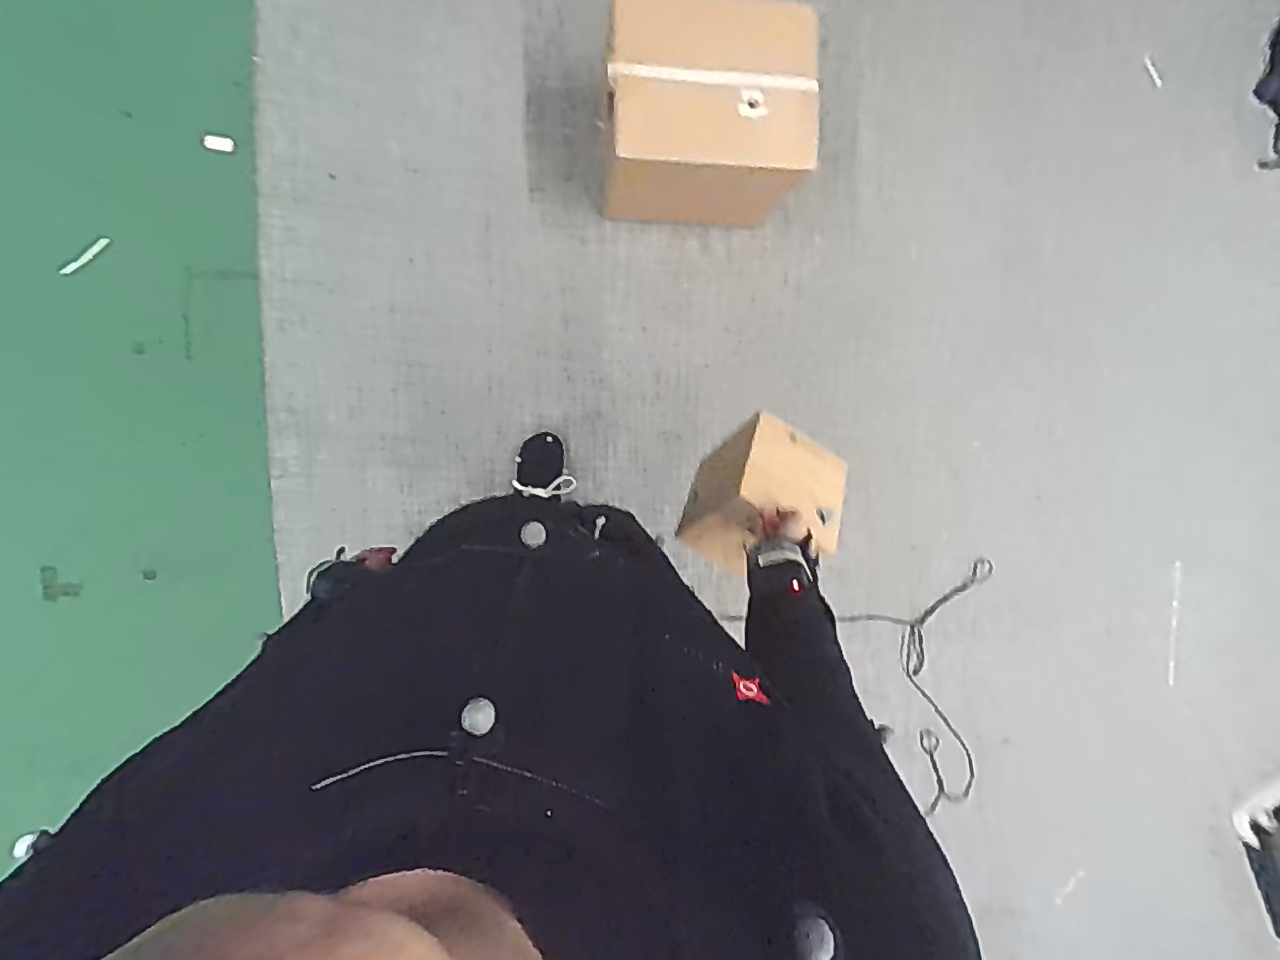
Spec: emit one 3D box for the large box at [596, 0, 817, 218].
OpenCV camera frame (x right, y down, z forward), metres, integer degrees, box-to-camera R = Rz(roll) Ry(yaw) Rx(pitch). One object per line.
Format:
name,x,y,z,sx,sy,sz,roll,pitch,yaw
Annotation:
large box,0.122,-0.786,1.168,0.408,0.320,0.320,-2,96,-10
